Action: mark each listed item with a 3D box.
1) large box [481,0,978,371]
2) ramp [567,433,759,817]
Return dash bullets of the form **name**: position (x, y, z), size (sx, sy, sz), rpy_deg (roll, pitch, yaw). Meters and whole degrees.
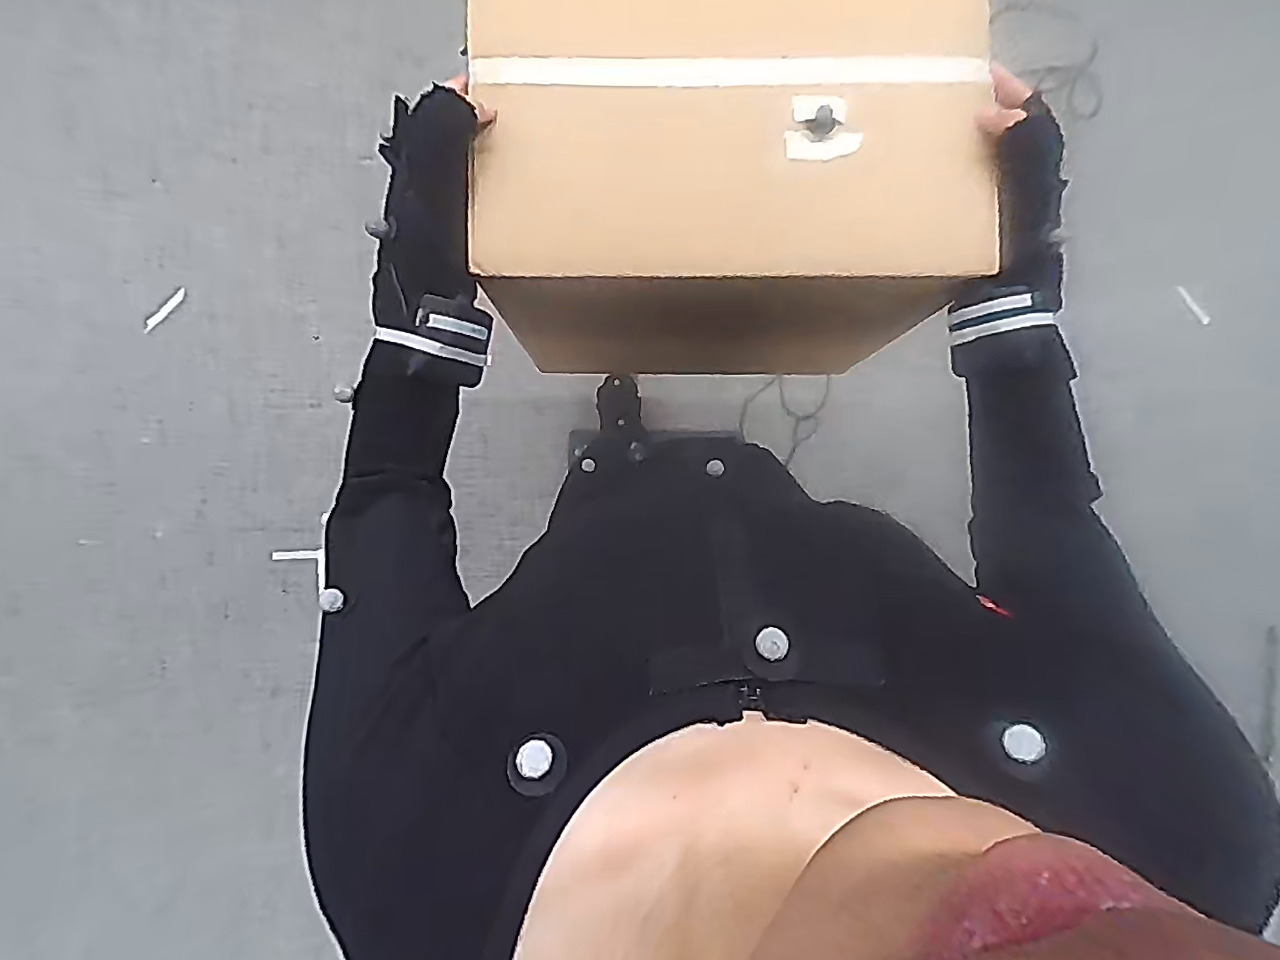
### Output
- **large box**: position (0.066, -0.310, 0.586), size (0.408, 0.320, 0.320), rpy_deg (0, 87, -1)
- **ramp**: position (0.053, 0.358, 1.455), size (0.509, 0.206, 0.991), rpy_deg (-2, 90, 1)
